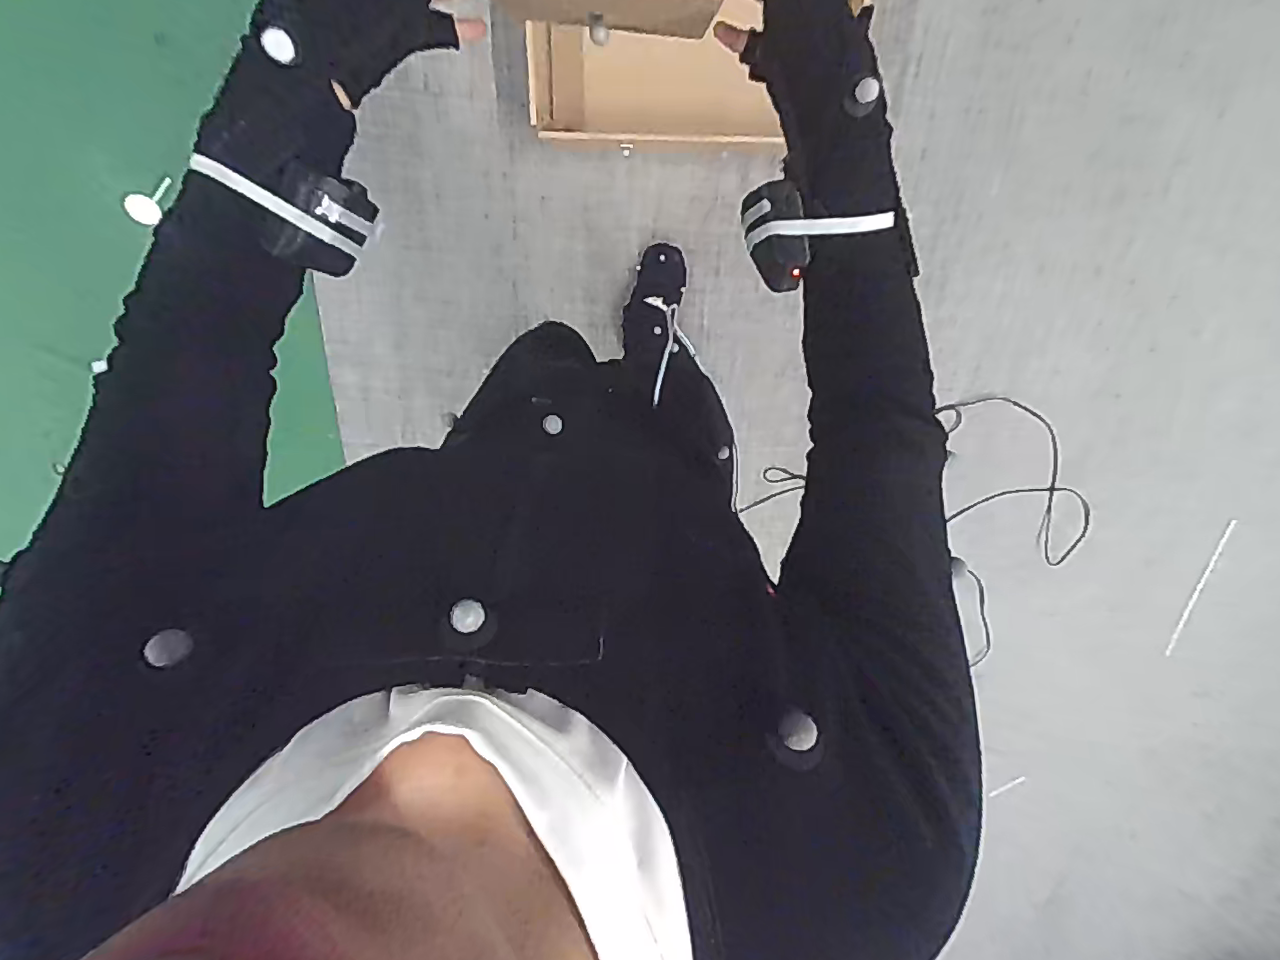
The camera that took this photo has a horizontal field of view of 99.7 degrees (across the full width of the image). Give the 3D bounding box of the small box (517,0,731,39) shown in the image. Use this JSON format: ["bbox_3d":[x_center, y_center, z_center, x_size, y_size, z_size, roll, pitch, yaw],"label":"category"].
[{"bbox_3d":[-0.015,-0.410,0.341,0.168,0.176,0.179,6,123,-2],"label":"small box"}]
